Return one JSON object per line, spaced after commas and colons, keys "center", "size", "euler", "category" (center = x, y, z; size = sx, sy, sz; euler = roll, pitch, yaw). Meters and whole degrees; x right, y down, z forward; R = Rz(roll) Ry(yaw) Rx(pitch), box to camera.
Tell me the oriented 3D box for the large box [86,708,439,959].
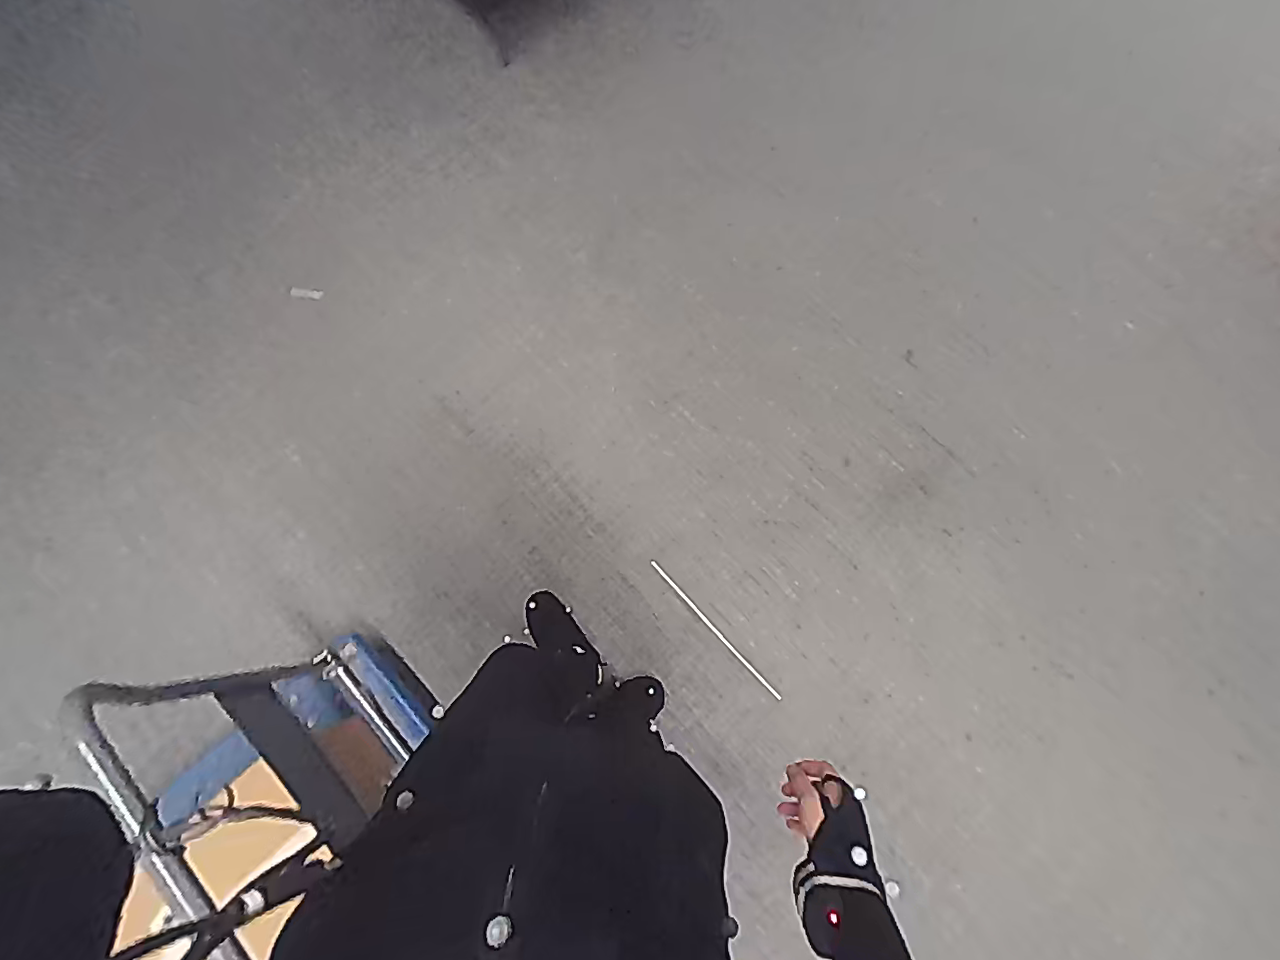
{"center": [-0.688, 0.734, 1.057], "size": [0.408, 0.320, 0.320], "euler": [-41, 81, -6], "category": "large box"}
